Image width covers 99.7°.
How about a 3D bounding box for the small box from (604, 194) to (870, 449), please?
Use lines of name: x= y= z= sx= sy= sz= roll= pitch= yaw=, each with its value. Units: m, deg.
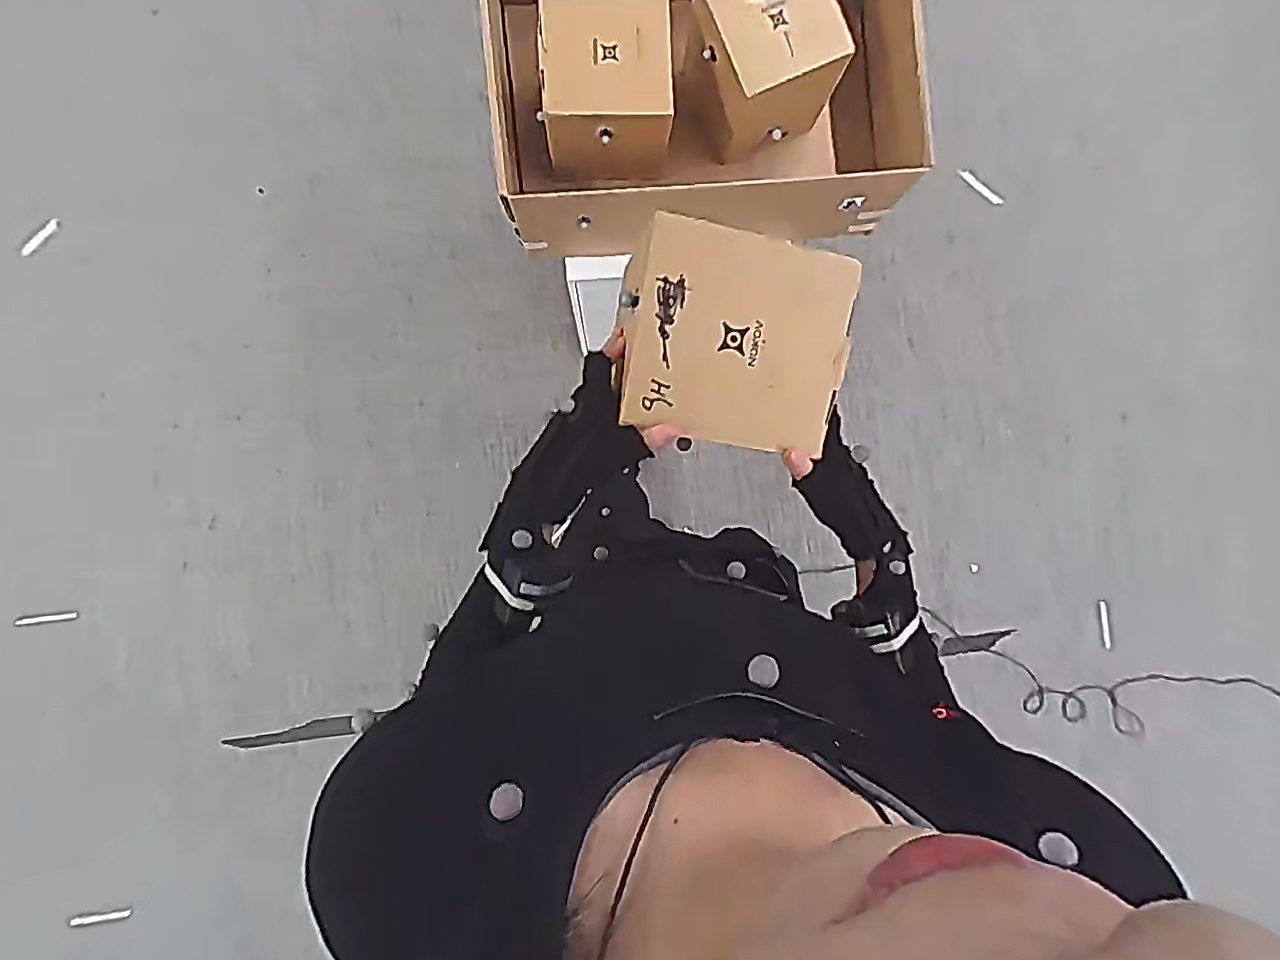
small box: x=0.073 y=-0.130 z=0.503 sx=0.179 sy=0.176 sz=0.168 roll=10 pitch=95 yaw=-11
